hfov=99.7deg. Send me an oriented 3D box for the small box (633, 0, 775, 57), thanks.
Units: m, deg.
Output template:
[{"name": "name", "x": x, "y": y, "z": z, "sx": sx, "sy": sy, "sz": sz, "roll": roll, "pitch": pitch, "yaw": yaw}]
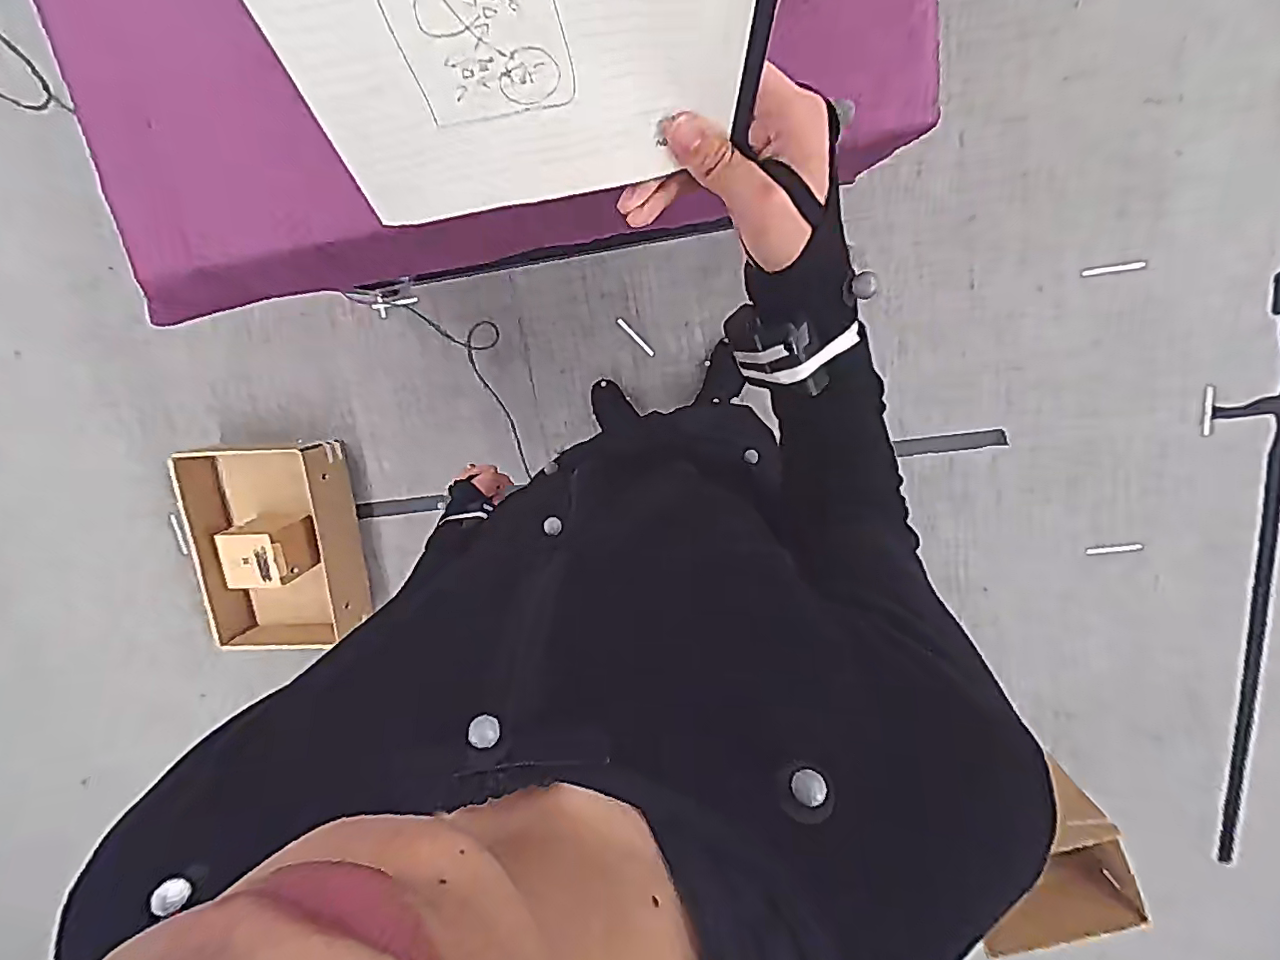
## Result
[{"name": "small box", "x": 0.074, "y": -0.627, "z": 0.626, "sx": 0.168, "sy": 0.176, "sz": 0.179, "roll": -2, "pitch": 104, "yaw": 4}]
